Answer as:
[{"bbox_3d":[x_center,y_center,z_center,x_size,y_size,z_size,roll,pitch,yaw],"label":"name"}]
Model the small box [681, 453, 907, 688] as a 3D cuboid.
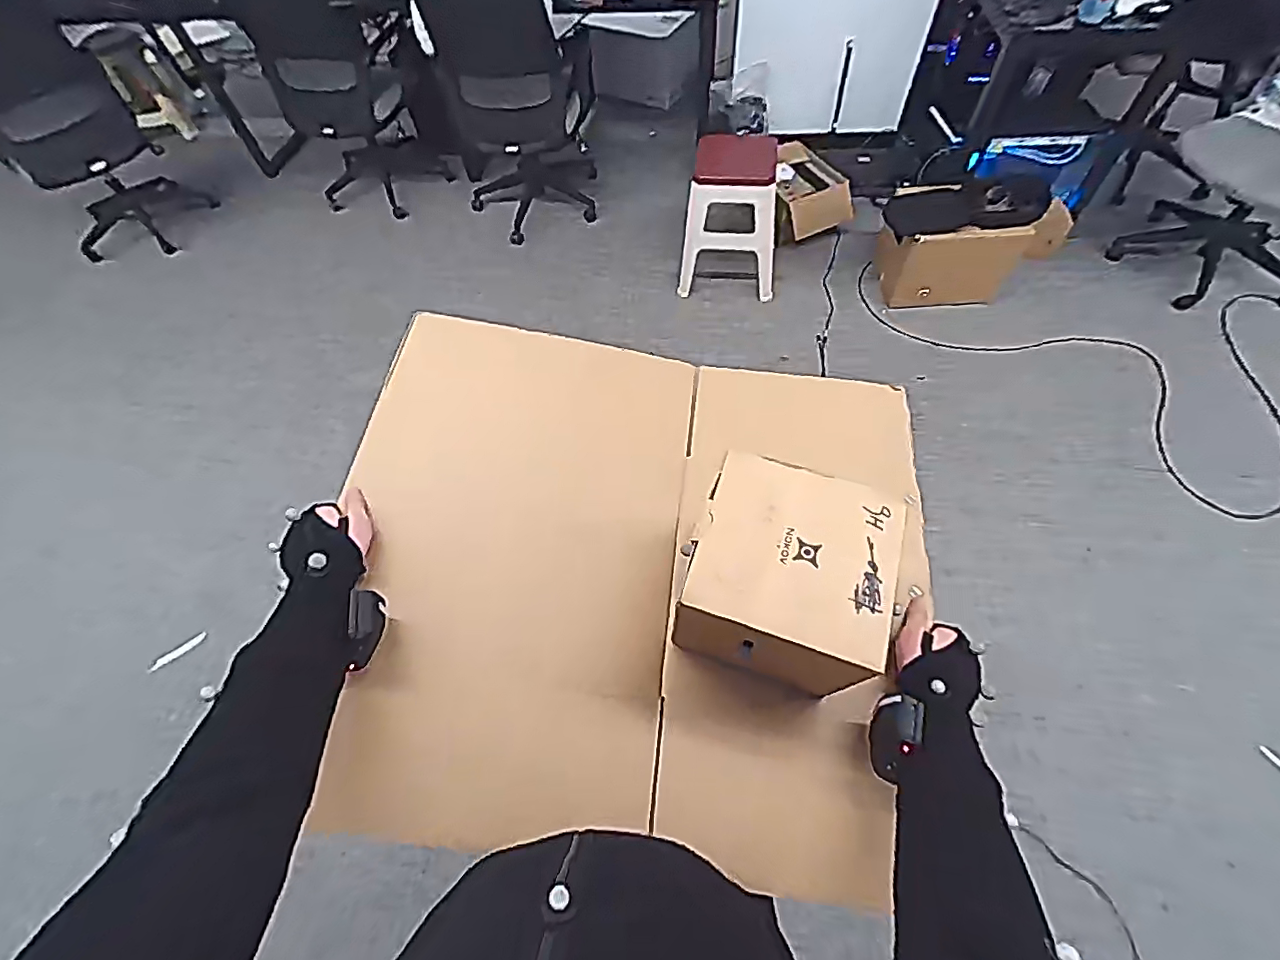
[{"bbox_3d":[0.147,0.102,0.561,0.179,0.176,0.168,17,64,11],"label":"small box"}]
